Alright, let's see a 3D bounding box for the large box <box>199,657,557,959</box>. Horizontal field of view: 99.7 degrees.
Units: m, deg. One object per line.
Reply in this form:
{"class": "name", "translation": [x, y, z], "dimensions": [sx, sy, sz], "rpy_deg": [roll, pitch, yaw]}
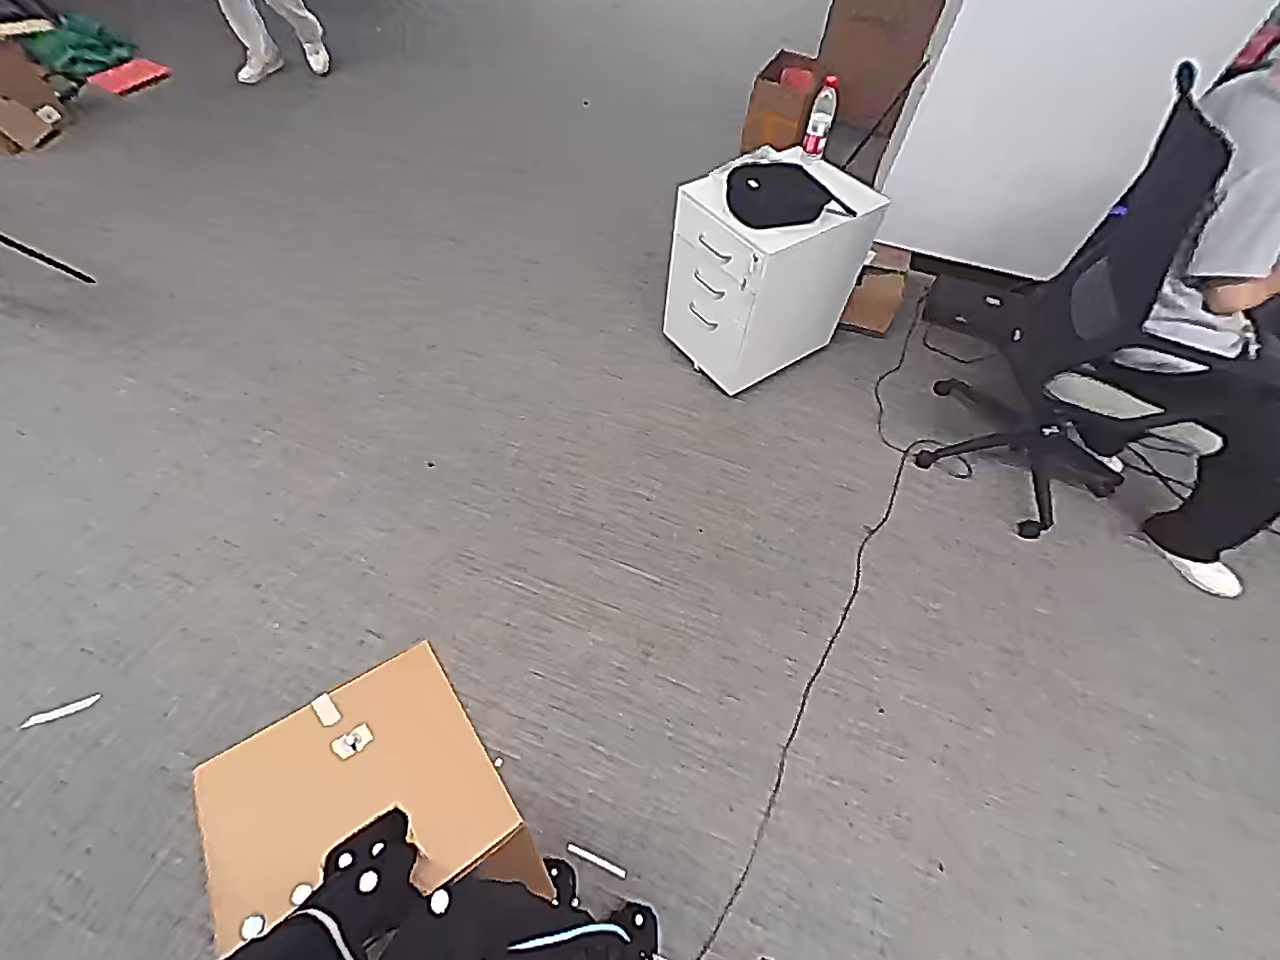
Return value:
{"class": "large box", "translation": [-0.353, 0.545, 0.802], "dimensions": [0.320, 0.408, 0.320], "rpy_deg": [-27, 50, -26]}
